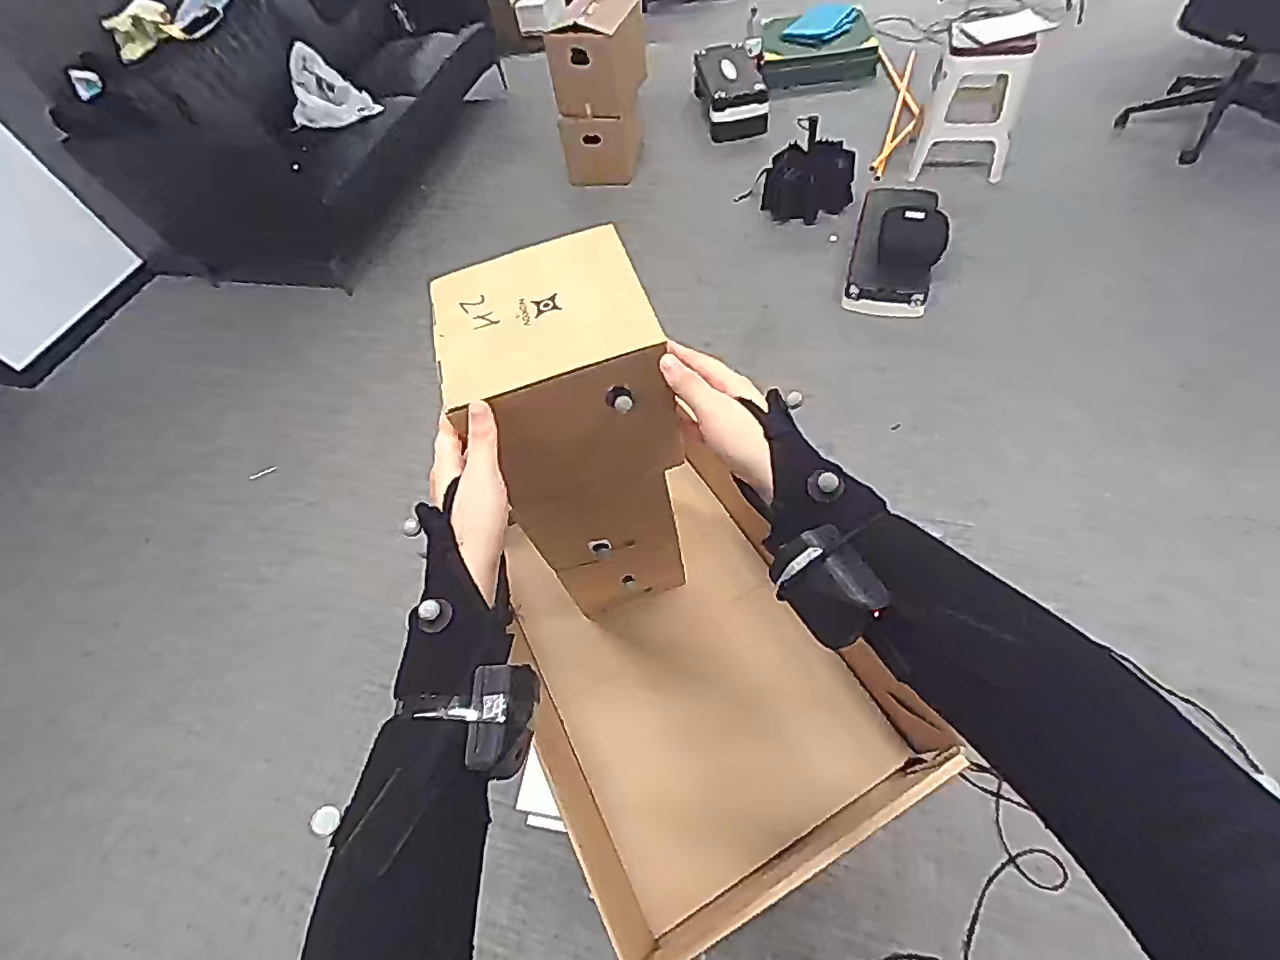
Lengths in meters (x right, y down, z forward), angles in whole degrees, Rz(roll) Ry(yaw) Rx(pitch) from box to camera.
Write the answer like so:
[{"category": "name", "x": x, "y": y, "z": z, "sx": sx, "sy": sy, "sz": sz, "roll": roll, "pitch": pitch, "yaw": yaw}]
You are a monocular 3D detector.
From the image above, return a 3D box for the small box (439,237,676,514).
[{"category": "small box", "x": -0.070, "y": -0.093, "z": 0.522, "sx": 0.179, "sy": 0.176, "sz": 0.168, "roll": -19, "pitch": 56, "yaw": -1}]

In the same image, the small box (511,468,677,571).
[{"category": "small box", "x": -0.058, "y": -0.013, "z": 0.667, "sx": 0.168, "sy": 0.176, "sz": 0.179, "roll": -16, "pitch": 57, "yaw": 1}]
